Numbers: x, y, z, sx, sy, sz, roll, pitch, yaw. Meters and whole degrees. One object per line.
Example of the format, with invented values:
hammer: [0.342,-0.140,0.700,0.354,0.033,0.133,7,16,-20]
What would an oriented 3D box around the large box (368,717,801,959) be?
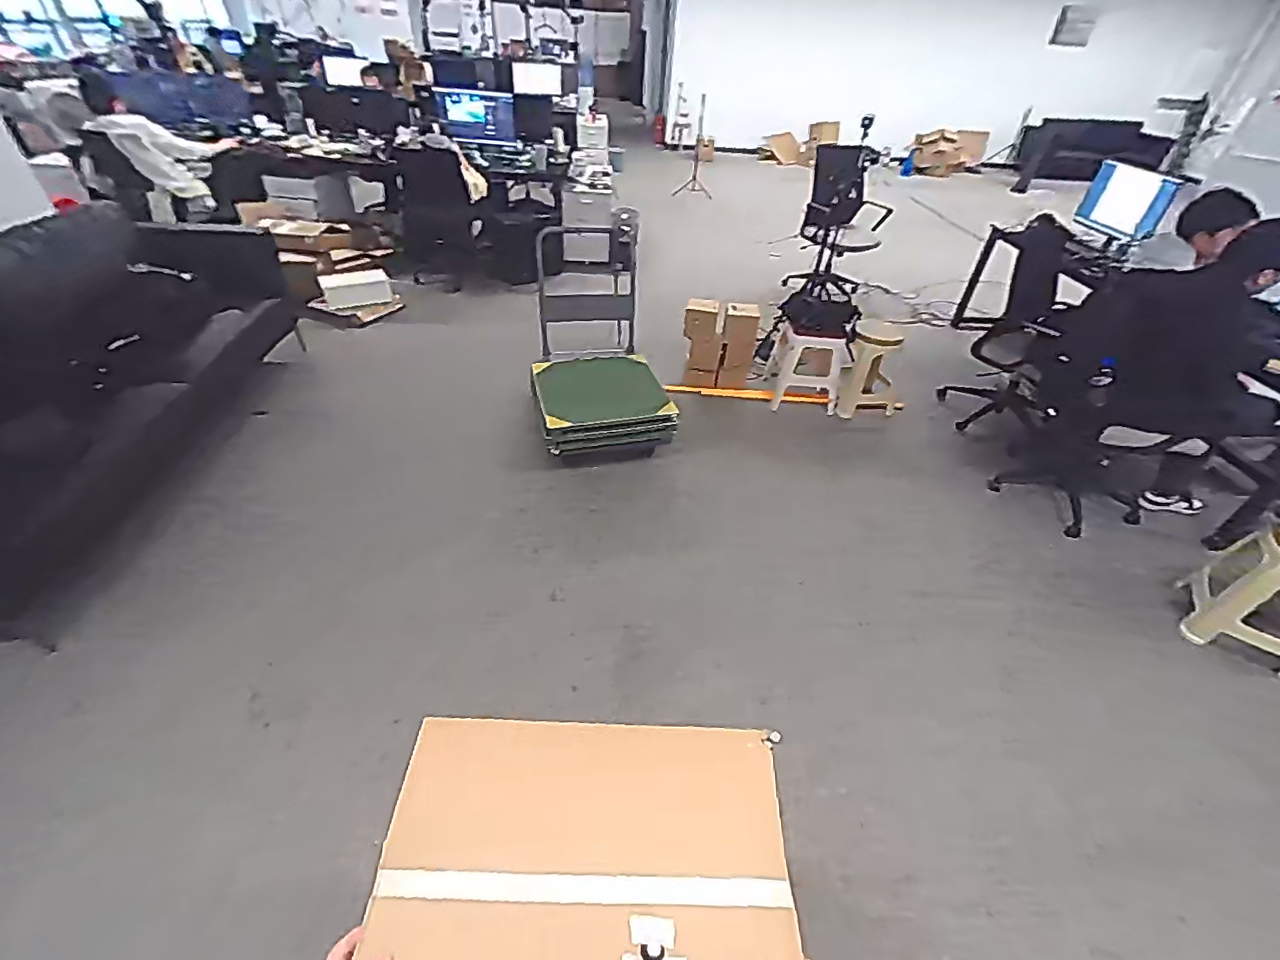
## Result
large box: [-0.056,0.500,0.641,0.408,0.320,0.320,2,46,-1]
